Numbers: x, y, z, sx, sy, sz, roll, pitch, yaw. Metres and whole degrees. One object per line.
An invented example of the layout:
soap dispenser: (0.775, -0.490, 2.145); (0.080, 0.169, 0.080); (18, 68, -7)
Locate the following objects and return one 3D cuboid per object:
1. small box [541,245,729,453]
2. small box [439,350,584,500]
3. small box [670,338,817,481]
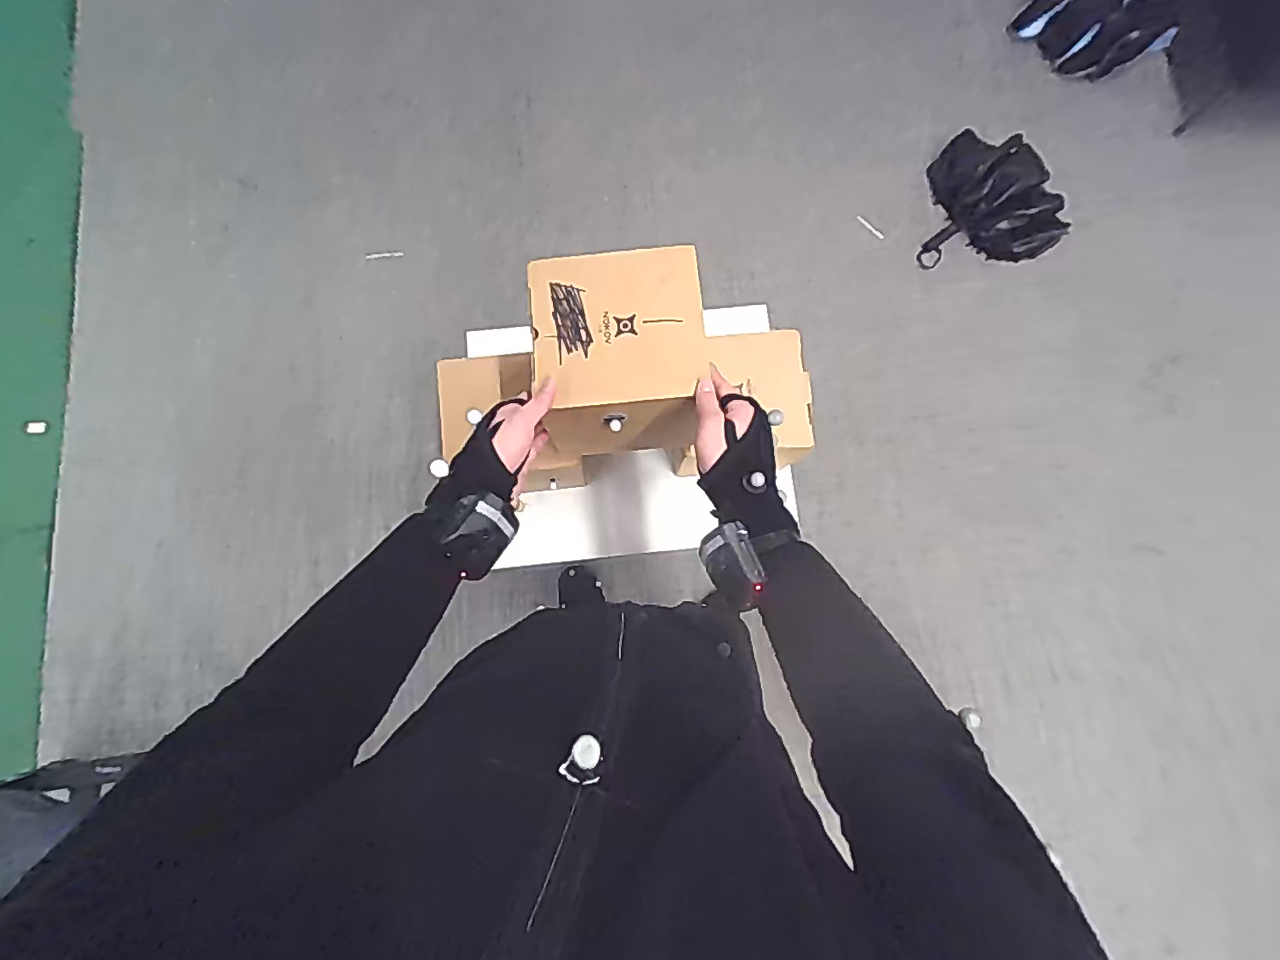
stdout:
small box: (-0.008, -0.134, 0.605); (0.179, 0.176, 0.168); (-5, 76, -3)
small box: (-0.173, -0.071, 0.773); (0.179, 0.176, 0.168); (-6, 78, -5)
small box: (0.138, -0.096, 0.797); (0.179, 0.176, 0.168); (-4, 80, -3)
